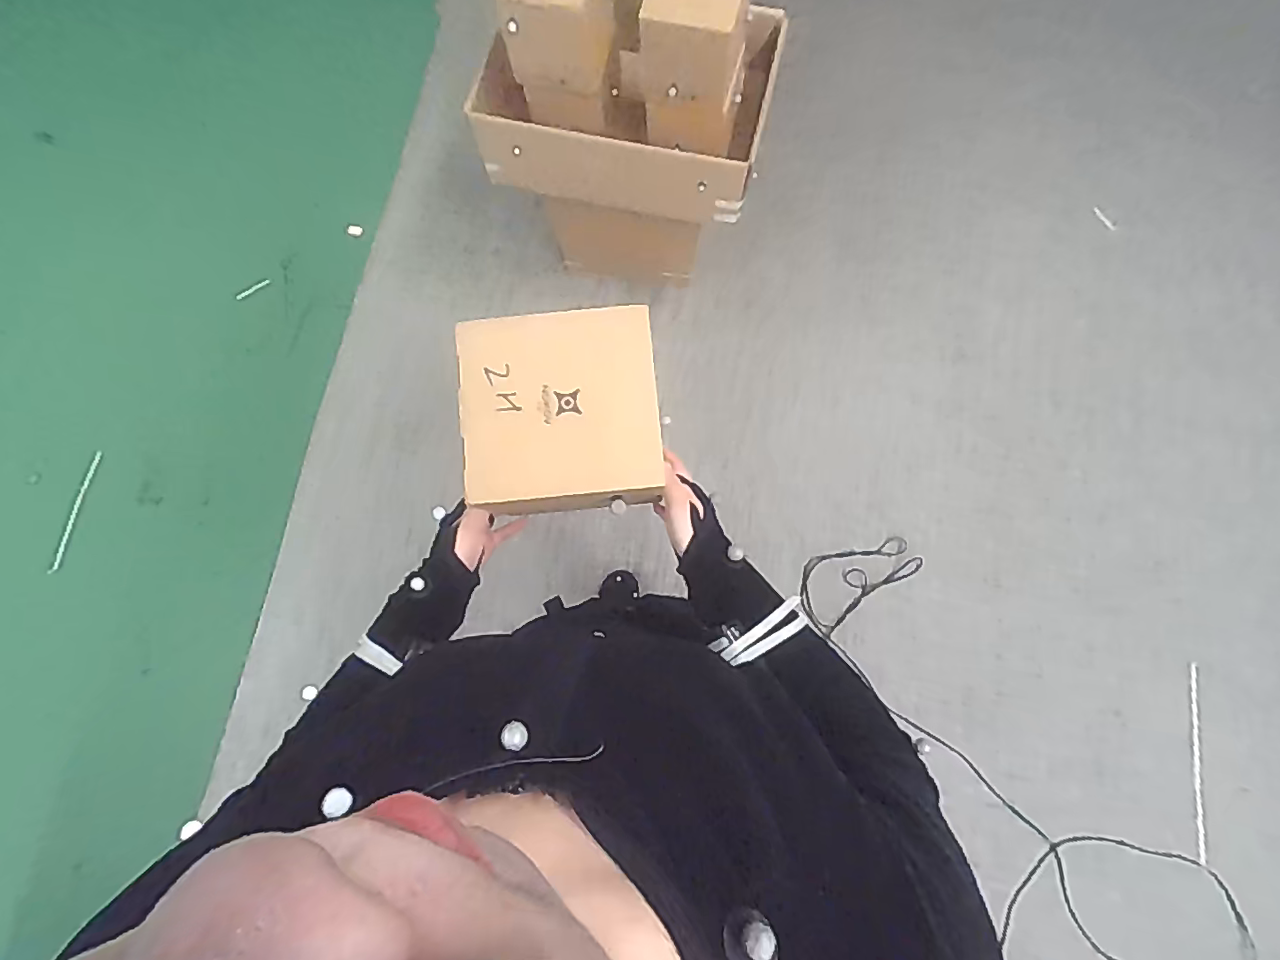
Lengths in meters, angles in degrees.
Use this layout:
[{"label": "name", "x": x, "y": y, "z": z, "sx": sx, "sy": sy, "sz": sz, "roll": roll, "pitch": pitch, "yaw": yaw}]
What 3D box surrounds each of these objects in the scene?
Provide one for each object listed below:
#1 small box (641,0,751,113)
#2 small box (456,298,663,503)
[{"label": "small box", "x": 0.106, "y": -0.837, "z": 1.005, "sx": 0.168, "sy": 0.176, "sz": 0.179, "roll": 16, "pitch": 81, "yaw": 7}, {"label": "small box", "x": -0.071, "y": -0.067, "z": 0.552, "sx": 0.179, "sy": 0.176, "sz": 0.168, "roll": -5, "pitch": 83, "yaw": 1}]
